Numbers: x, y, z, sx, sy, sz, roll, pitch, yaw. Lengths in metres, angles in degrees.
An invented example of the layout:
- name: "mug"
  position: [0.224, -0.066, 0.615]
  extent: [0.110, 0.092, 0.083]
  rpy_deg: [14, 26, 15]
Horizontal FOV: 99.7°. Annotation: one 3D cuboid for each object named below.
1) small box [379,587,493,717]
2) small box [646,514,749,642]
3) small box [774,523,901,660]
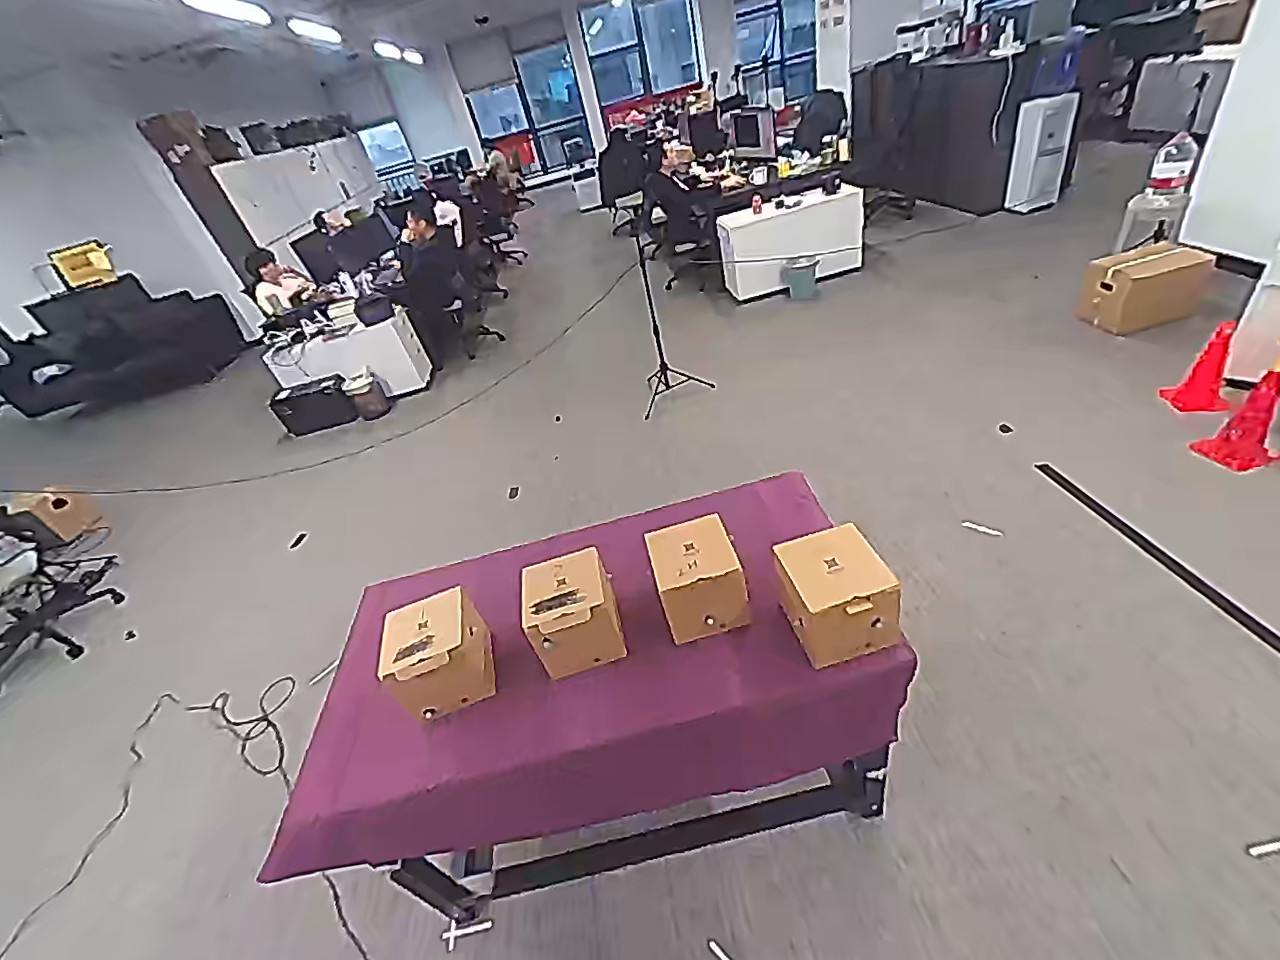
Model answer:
- name: "small box"
  position: [-0.416, 0.363, 1.126]
  extent: [0.168, 0.176, 0.179]
  rpy_deg: [-21, 36, -7]
- name: "small box"
  position: [0.119, 0.204, 1.130]
  extent: [0.168, 0.176, 0.179]
  rpy_deg: [-16, 36, 1]
- name: "small box"
  position: [0.368, 0.215, 1.020]
  extent: [0.168, 0.176, 0.179]
  rpy_deg: [-17, 35, -1]
